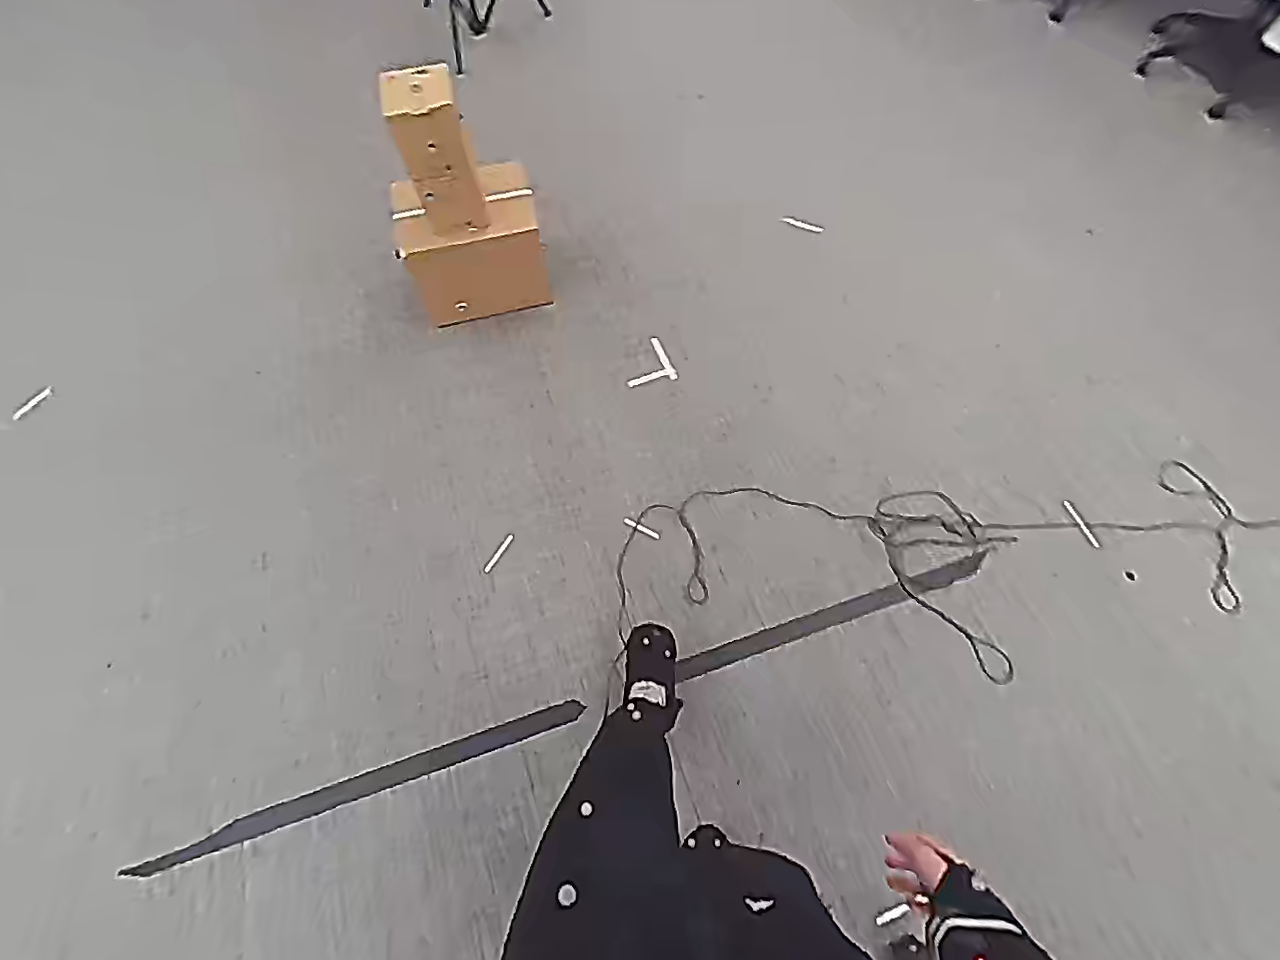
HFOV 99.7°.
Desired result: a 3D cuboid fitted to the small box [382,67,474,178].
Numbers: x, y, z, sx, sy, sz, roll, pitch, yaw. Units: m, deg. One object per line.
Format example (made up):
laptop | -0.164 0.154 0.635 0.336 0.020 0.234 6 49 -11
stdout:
small box | -0.531 -0.896 1.371 0.168 0.176 0.179 -13 67 -6
